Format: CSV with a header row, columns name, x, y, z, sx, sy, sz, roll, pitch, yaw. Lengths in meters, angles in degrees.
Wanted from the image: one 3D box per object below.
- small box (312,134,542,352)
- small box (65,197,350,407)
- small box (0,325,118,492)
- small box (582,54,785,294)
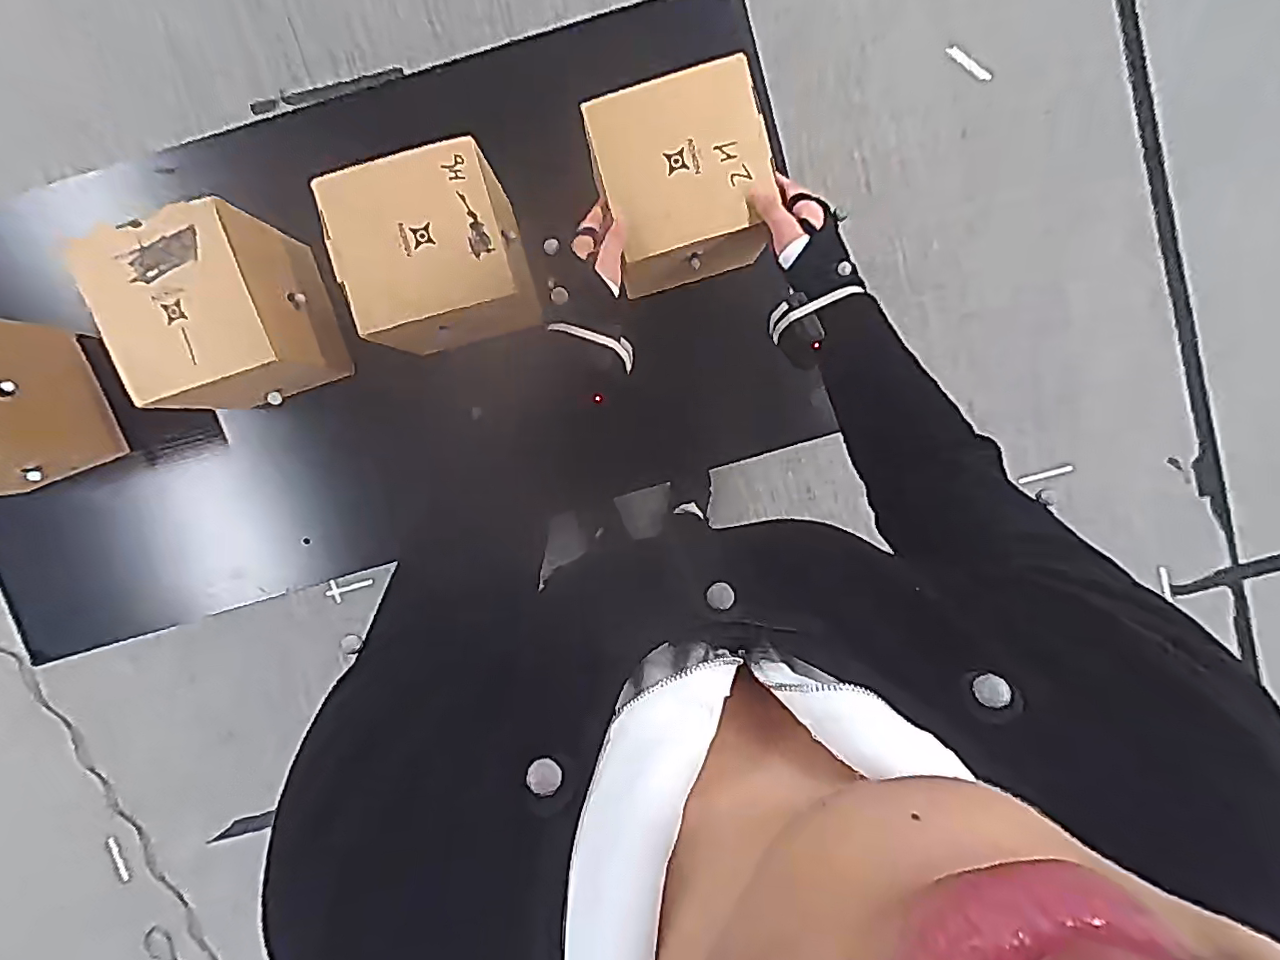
name,x,y,z,sx,sy,sz,roll,pitch,yaw
small box,-0.231,-0.257,0.633,0.179,0.176,0.168,-15,96,1
small box,-0.482,-0.191,0.635,0.168,0.176,0.179,-18,97,1
small box,-0.797,-0.081,0.643,0.168,0.176,0.179,-21,95,0
small box,0.046,-0.332,0.626,0.179,0.176,0.168,-16,96,2
